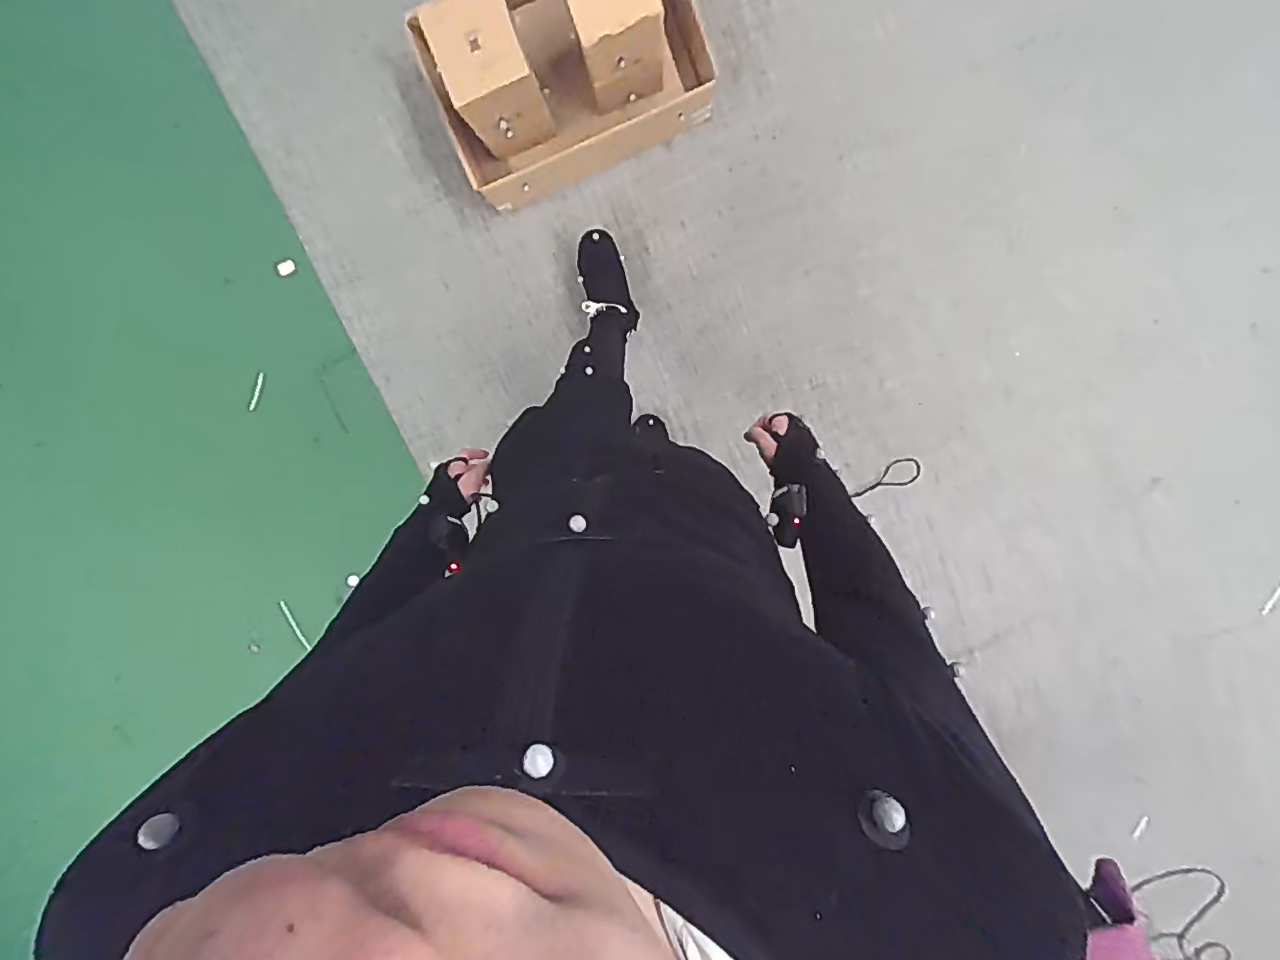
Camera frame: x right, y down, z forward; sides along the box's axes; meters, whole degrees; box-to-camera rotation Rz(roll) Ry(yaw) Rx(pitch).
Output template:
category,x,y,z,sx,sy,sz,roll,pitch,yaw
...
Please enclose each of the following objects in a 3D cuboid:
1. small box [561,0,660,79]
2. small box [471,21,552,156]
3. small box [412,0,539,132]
category,x,y,z,sx,sy,sz,roll,pitch,yaw
small box,-0.066,-0.954,1.072,0.168,0.176,0.179,-20,104,7
small box,-0.322,-0.899,1.260,0.168,0.176,0.179,-19,102,7
small box,-0.325,-0.857,1.102,0.168,0.176,0.179,-20,103,6
